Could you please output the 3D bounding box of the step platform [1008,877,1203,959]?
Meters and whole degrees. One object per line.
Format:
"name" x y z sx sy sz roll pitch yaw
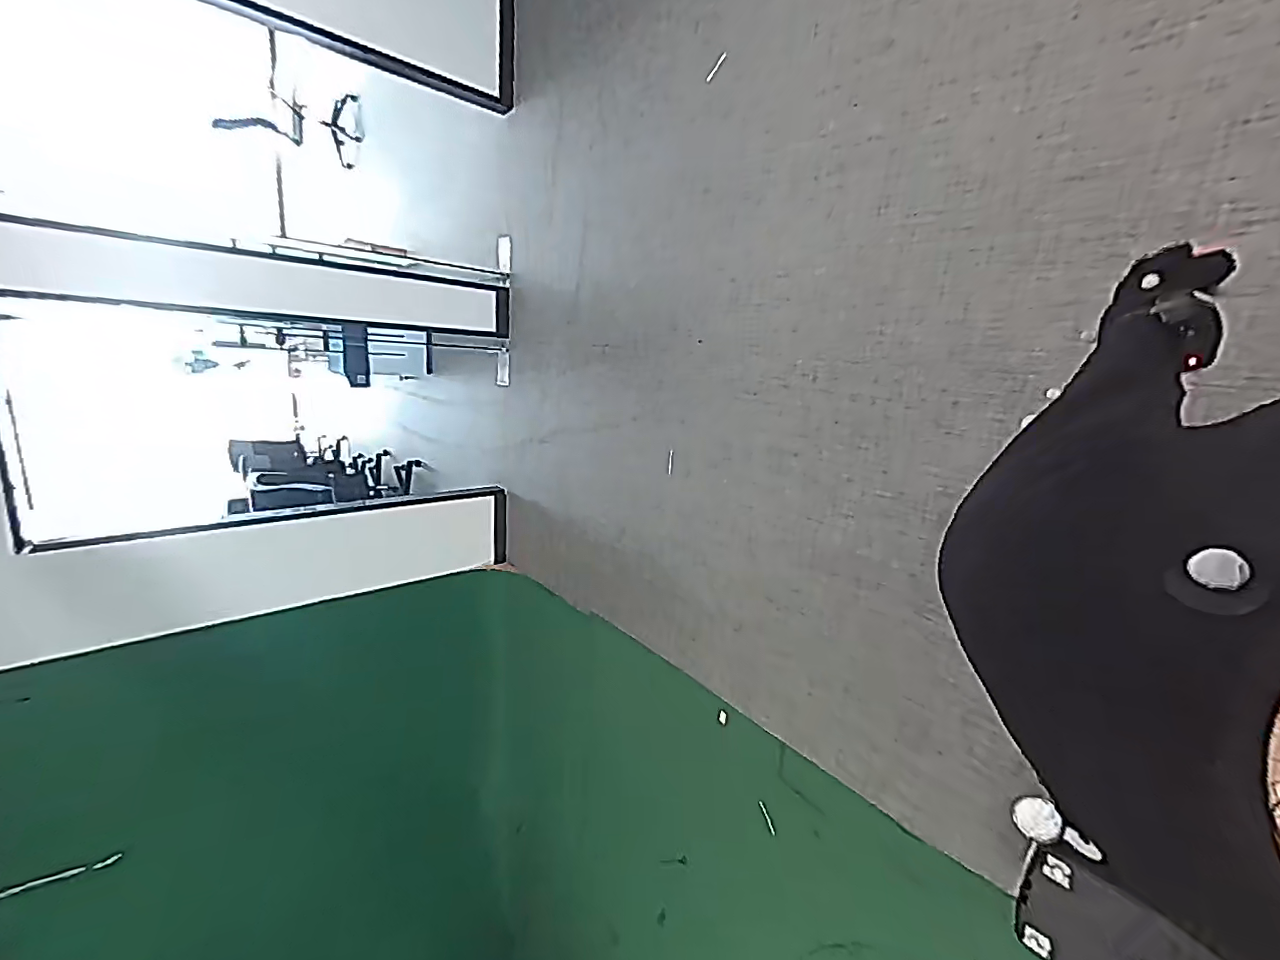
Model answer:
"step platform" 1.012 1.027 0.883 0.684 0.204 0.286 17 108 46
